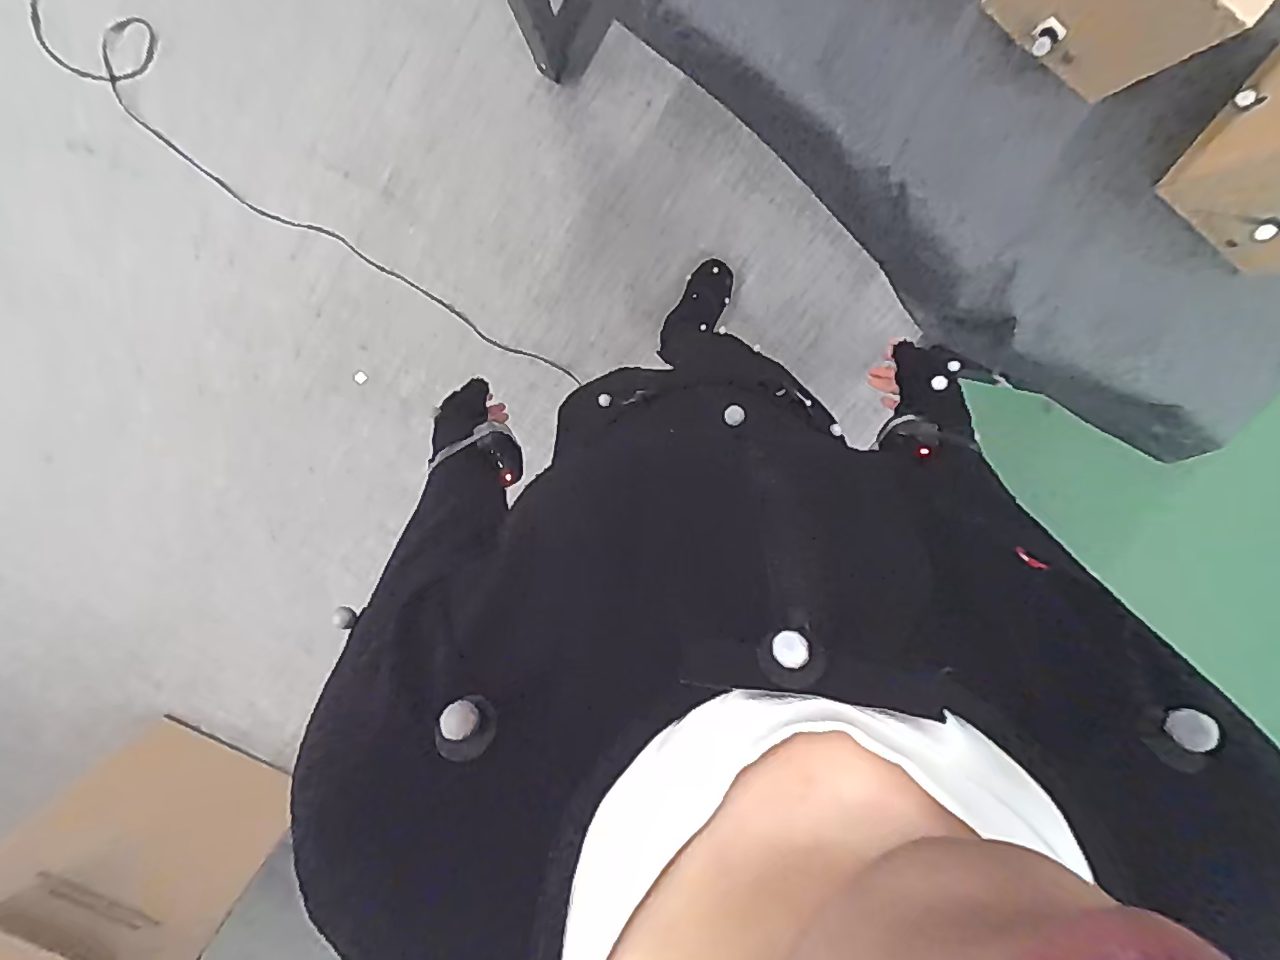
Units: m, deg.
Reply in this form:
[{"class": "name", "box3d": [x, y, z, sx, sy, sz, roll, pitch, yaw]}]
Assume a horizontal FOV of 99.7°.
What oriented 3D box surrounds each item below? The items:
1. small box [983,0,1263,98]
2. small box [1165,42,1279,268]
[{"class": "small box", "box3d": [0.459, -0.496, 0.477, 0.168, 0.176, 0.179, 31, 105, -8]}, {"class": "small box", "box3d": [0.683, -0.329, 0.527, 0.168, 0.176, 0.179, 34, 105, -9]}]
